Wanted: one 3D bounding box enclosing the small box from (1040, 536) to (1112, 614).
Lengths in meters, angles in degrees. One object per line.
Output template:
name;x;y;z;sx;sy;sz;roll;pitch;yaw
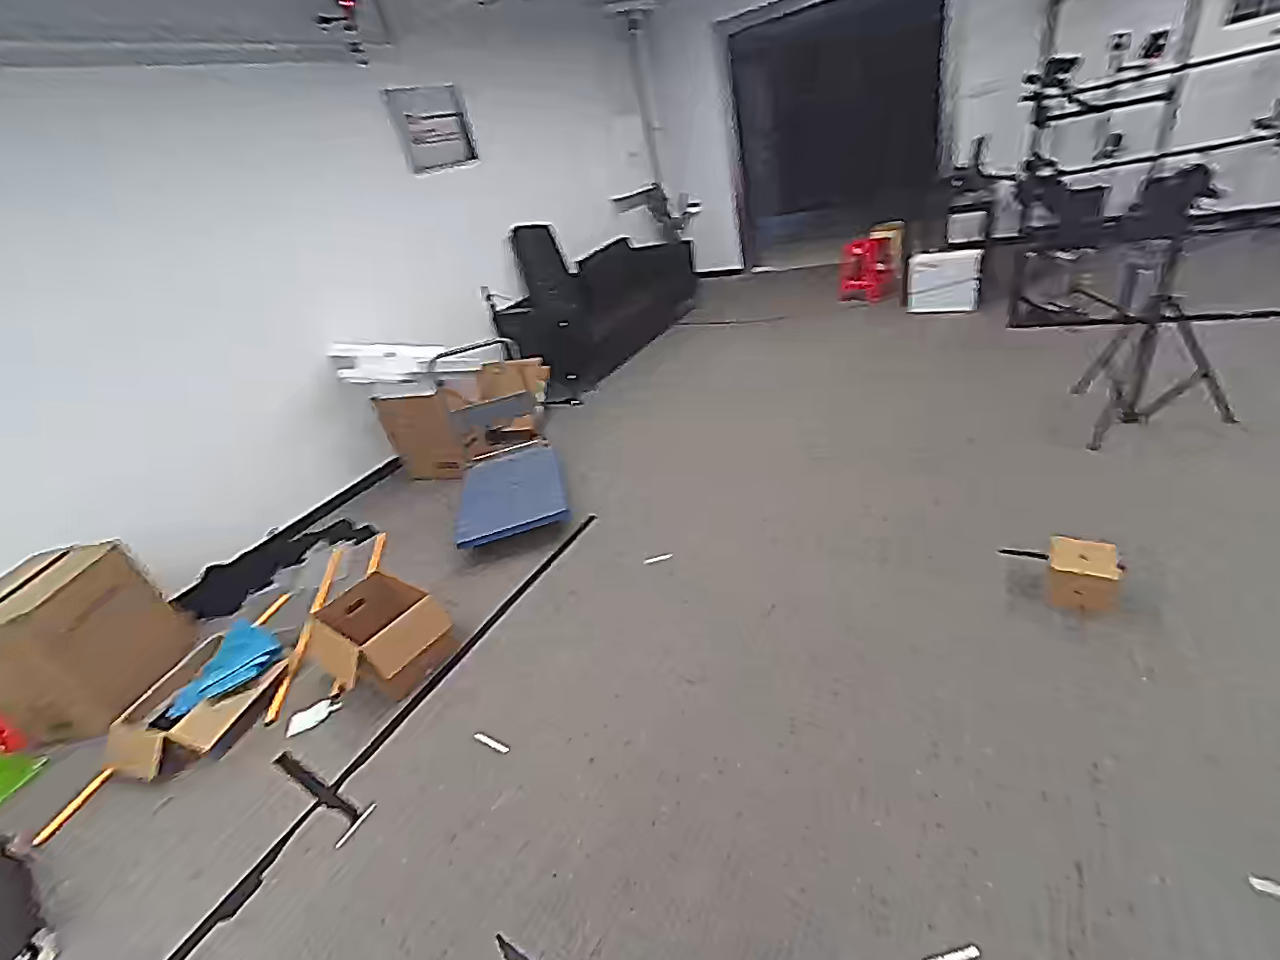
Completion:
small box;1.440;0.315;1.790;0.168;0.176;0.179;9;37;34
